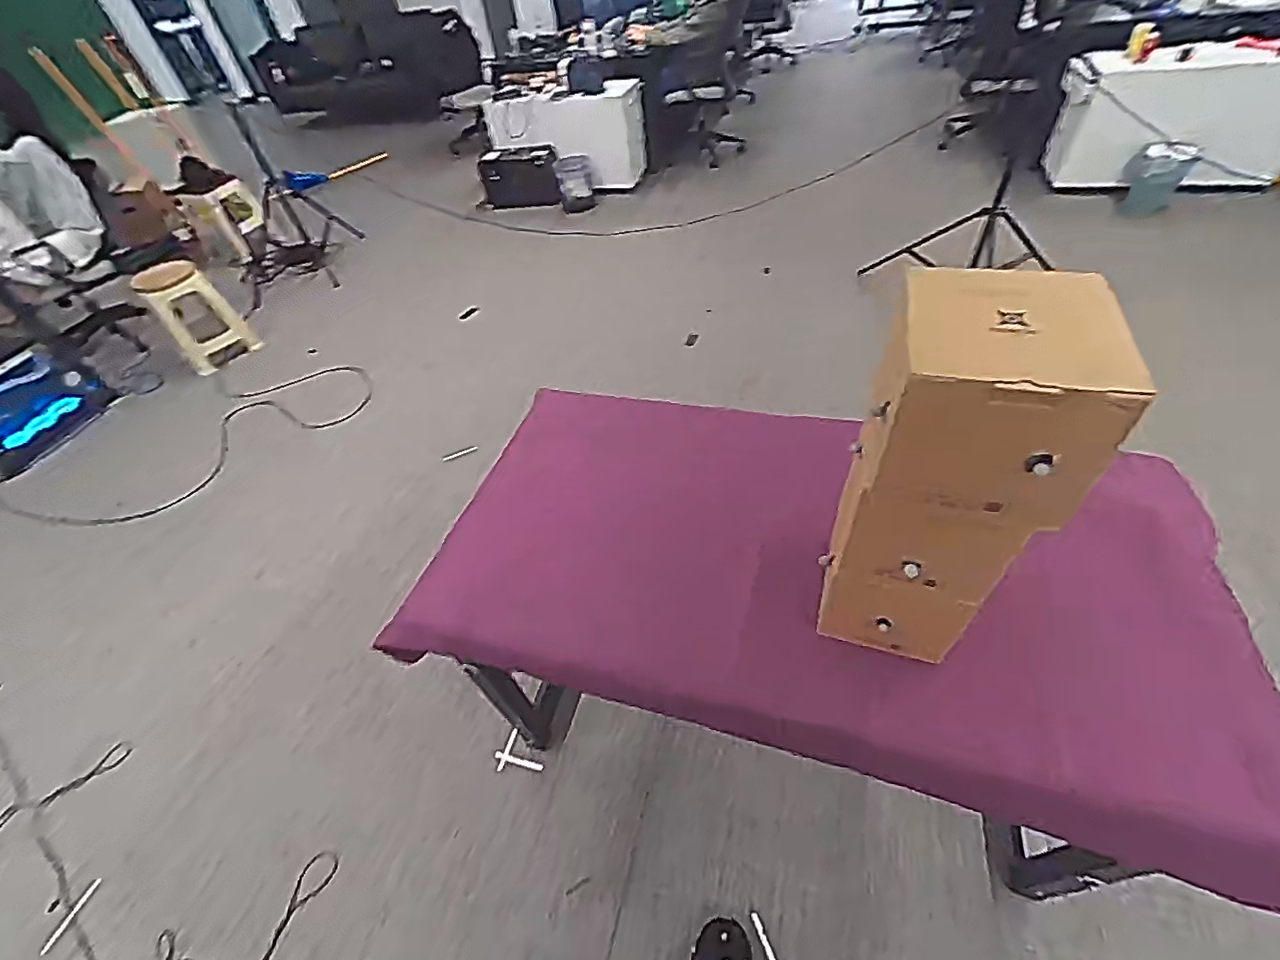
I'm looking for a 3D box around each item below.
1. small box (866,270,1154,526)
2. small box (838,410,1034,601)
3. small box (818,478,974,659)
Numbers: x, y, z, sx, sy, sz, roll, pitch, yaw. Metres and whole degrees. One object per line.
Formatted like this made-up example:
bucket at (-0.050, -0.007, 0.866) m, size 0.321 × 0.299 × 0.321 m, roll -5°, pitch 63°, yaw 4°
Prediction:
small box at (0.321, -0.078, 0.516) m, size 0.168 × 0.176 × 0.179 m, roll 9°, pitch 49°, yaw 14°
small box at (0.342, 0.014, 0.649) m, size 0.168 × 0.176 × 0.179 m, roll 11°, pitch 51°, yaw 17°
small box at (0.355, 0.127, 0.768) m, size 0.168 × 0.176 × 0.179 m, roll 11°, pitch 50°, yaw 17°
